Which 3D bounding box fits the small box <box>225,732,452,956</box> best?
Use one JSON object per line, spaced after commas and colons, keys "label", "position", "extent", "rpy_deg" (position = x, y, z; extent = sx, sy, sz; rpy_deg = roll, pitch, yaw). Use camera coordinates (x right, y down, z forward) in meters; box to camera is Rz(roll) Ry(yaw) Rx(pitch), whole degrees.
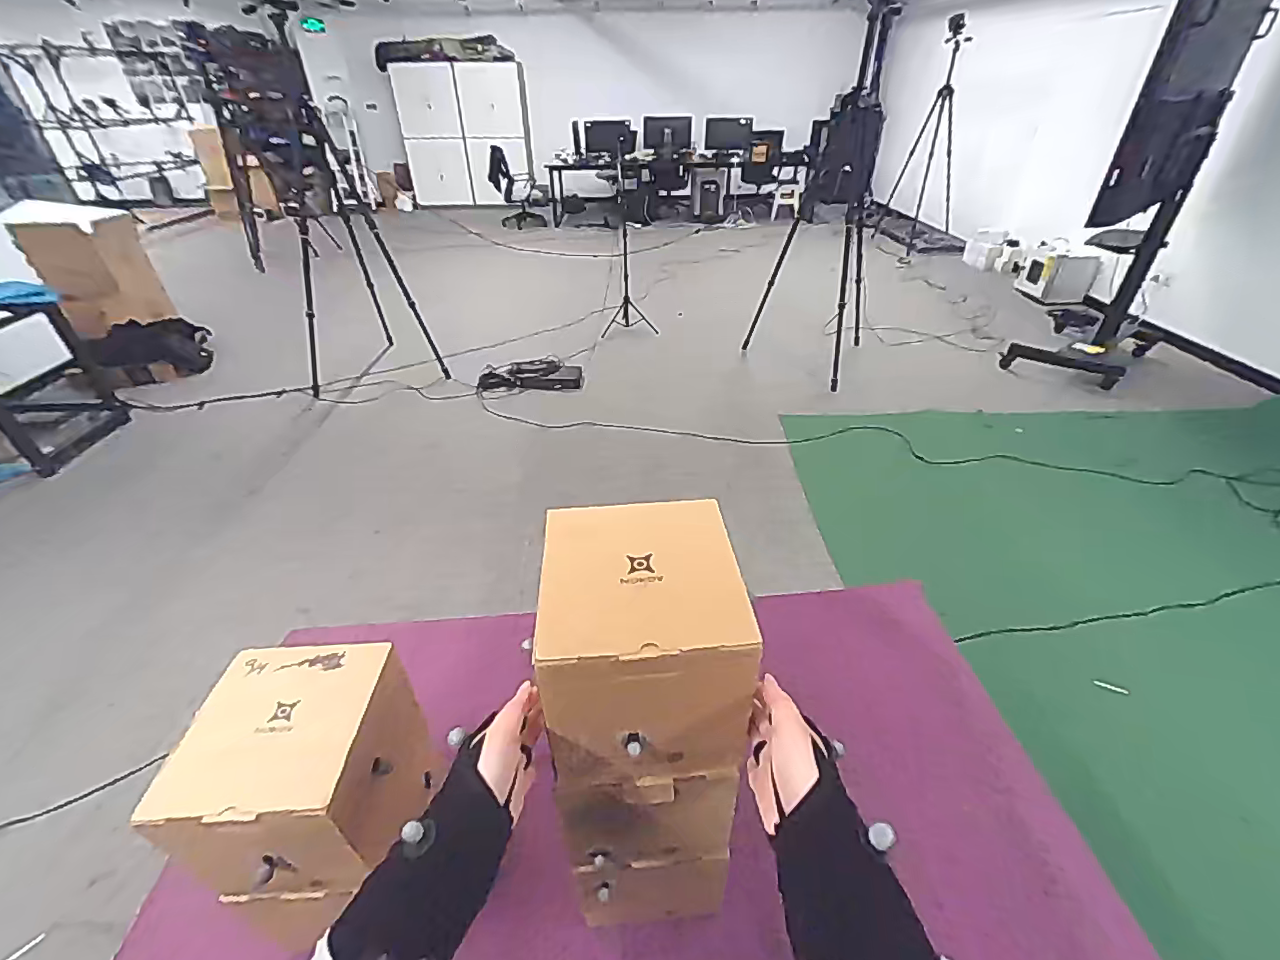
{"label": "small box", "position": [-0.340, 0.436, 0.656], "extent": [0.168, 0.176, 0.179], "rpy_deg": [-3, 35, -2]}

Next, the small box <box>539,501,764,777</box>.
{"label": "small box", "position": [0.003, 0.140, 0.499], "extent": [0.168, 0.176, 0.179], "rpy_deg": [-4, 36, -4]}

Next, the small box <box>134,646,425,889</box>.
{"label": "small box", "position": [-0.343, 0.299, 0.564], "extent": [0.168, 0.176, 0.179], "rpy_deg": [-2, 36, -2]}

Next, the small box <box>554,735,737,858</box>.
{"label": "small box", "position": [0.004, 0.279, 0.584], "extent": [0.168, 0.176, 0.179], "rpy_deg": [-3, 34, -3]}
